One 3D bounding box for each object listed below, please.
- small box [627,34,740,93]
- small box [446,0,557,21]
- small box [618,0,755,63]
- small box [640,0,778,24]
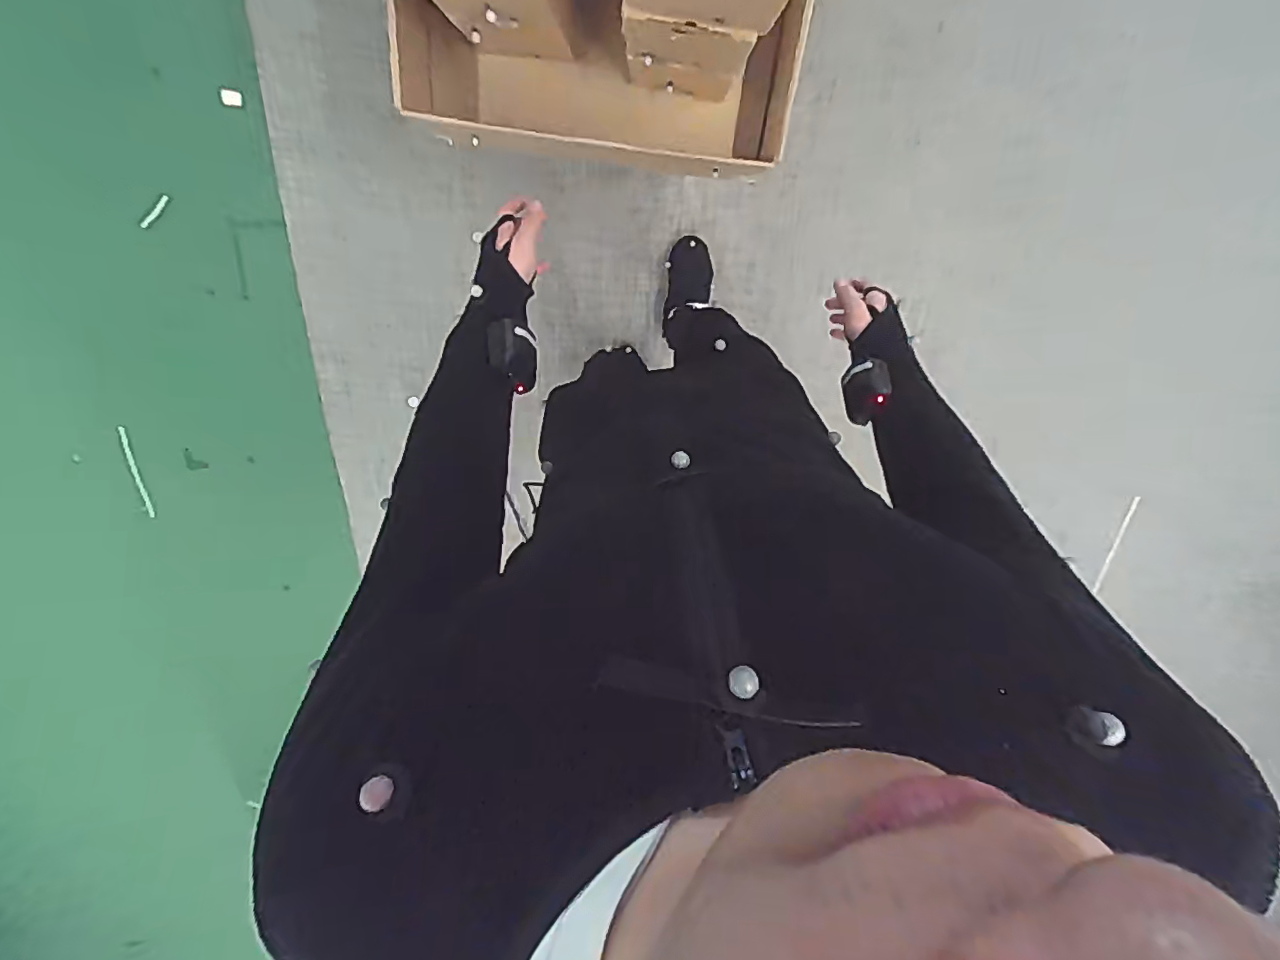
[{"bbox_3d":[0.074,-0.715,0.812,0.168,0.176,0.179,8,115,-2],"label":"small box"},{"bbox_3d":[-0.189,-0.696,0.644,0.168,0.176,0.179,7,115,-1],"label":"small box"},{"bbox_3d":[0.070,-0.646,0.663,0.168,0.176,0.179,8,115,-2],"label":"small box"},{"bbox_3d":[0.078,-0.581,0.512,0.168,0.176,0.179,8,115,-2],"label":"small box"}]
